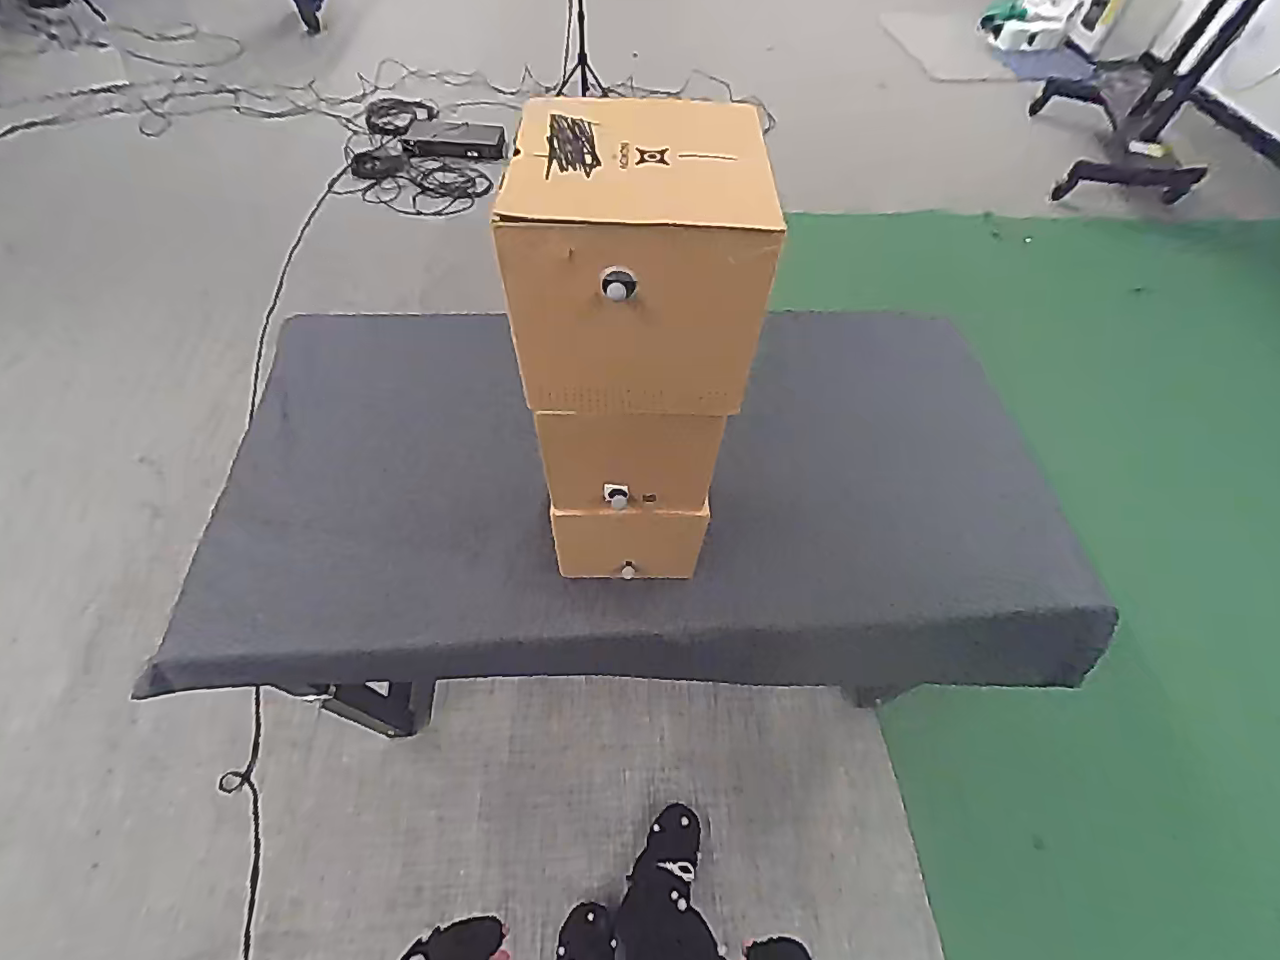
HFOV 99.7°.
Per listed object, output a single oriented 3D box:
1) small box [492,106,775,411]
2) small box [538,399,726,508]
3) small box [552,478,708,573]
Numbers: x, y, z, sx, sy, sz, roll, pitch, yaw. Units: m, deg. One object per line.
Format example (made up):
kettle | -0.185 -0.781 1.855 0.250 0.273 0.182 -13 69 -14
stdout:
small box | -0.004 -0.170 0.436 0.179 0.176 0.168 2 56 -1
small box | -0.012 -0.085 0.576 0.168 0.176 0.179 -2 58 -2
small box | -0.017 0.013 0.706 0.179 0.176 0.168 0 56 -3
